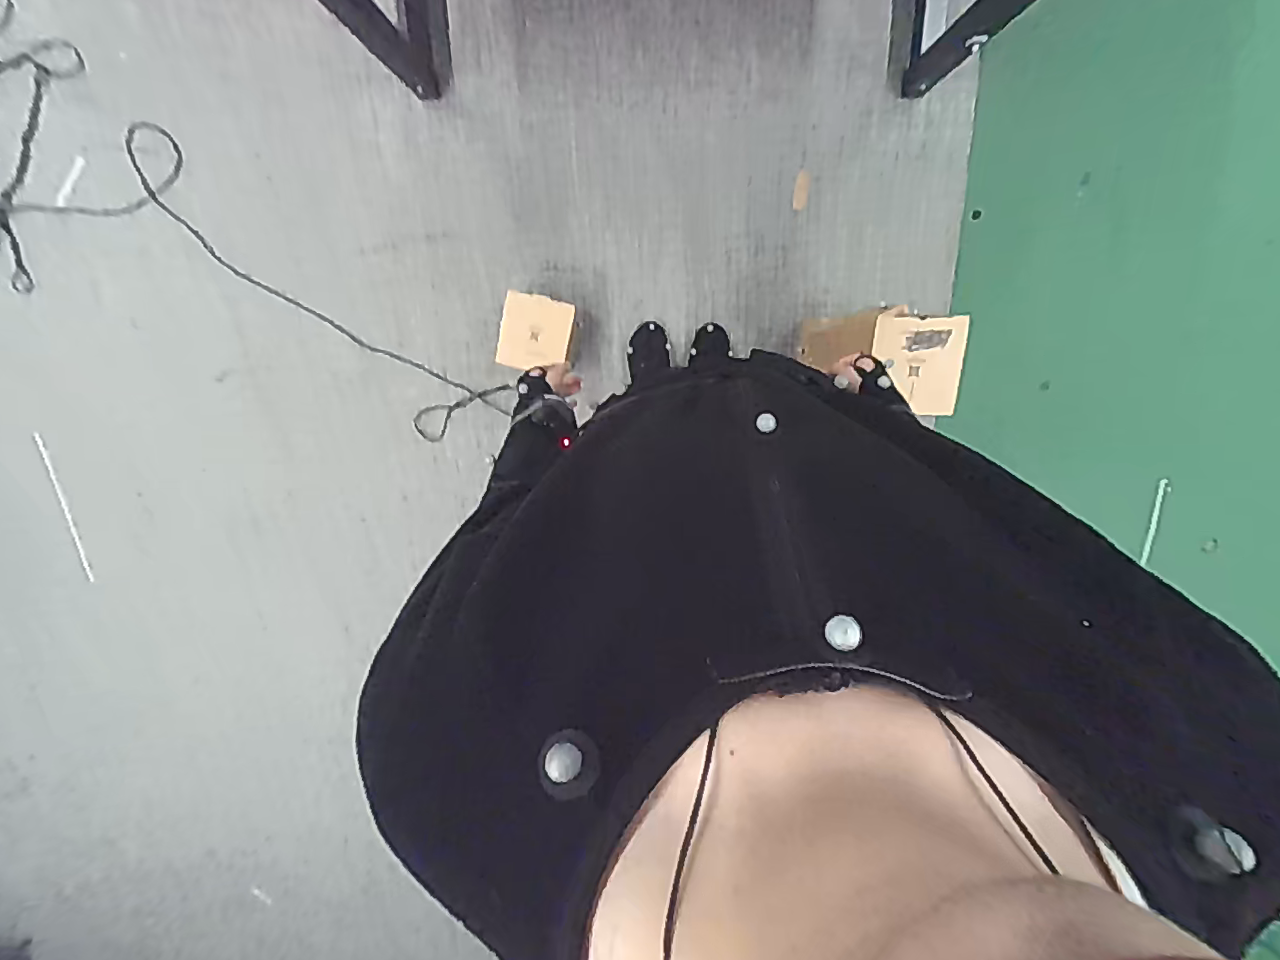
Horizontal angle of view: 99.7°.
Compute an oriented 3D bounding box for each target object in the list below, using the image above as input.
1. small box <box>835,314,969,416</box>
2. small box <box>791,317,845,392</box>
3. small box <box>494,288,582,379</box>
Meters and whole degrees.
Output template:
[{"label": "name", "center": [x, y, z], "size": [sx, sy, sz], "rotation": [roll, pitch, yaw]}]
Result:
[{"label": "small box", "center": [0.487, -0.224, 1.034], "size": [0.168, 0.176, 0.179], "rotation": [1, 107, 0]}, {"label": "small box", "center": [0.493, -0.308, 1.352], "size": [0.179, 0.176, 0.168], "rotation": [9, 106, -1]}, {"label": "small box", "center": [-0.247, -0.365, 1.349], "size": [0.168, 0.176, 0.179], "rotation": [14, 106, -3]}]
